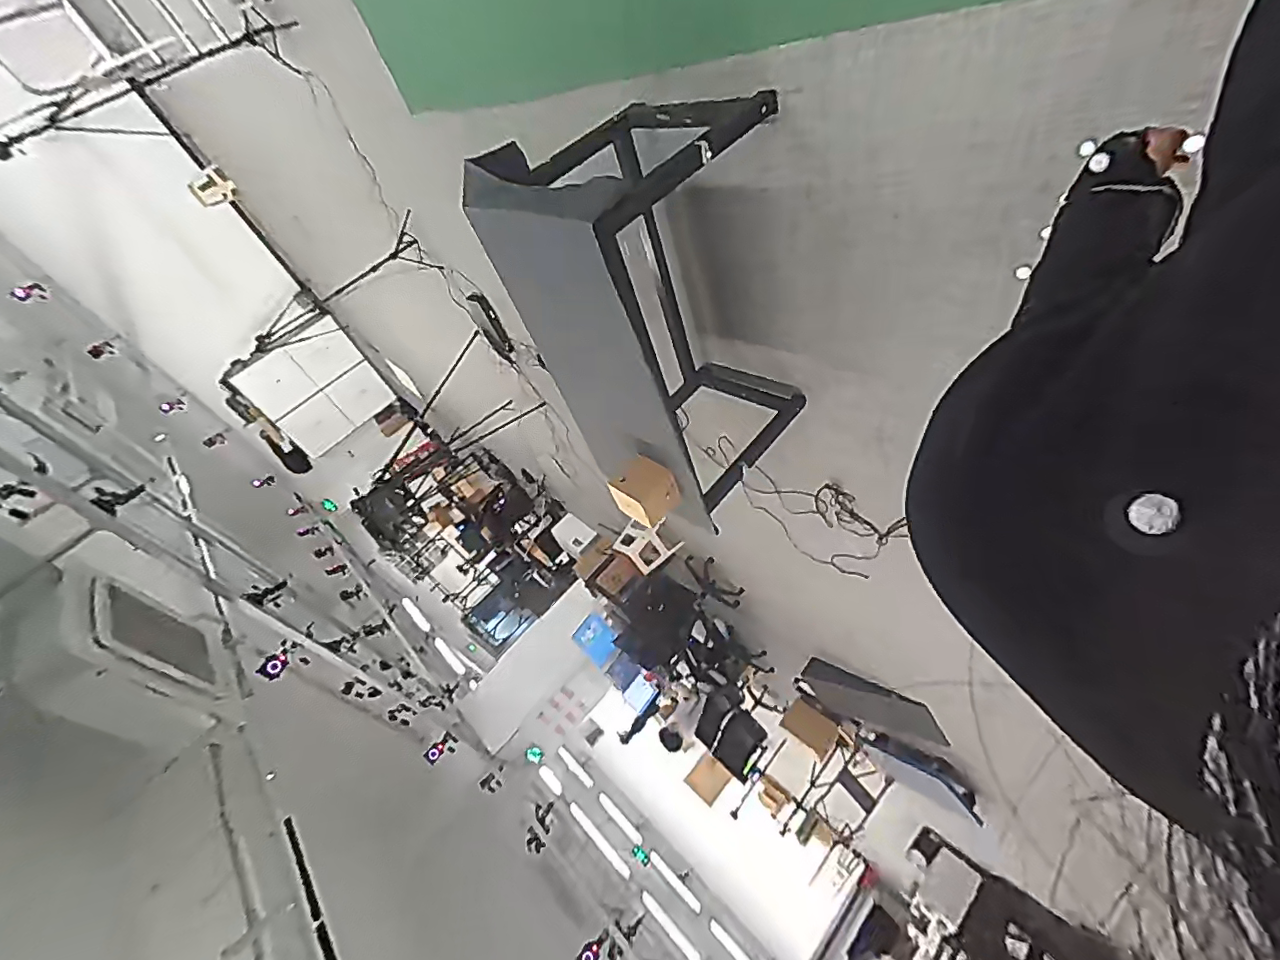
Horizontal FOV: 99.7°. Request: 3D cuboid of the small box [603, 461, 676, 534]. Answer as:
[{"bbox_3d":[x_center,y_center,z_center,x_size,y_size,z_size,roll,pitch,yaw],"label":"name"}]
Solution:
[{"bbox_3d":[0.001,0.055,1.935,0.179,0.176,0.168,28,155,36],"label":"small box"}]
